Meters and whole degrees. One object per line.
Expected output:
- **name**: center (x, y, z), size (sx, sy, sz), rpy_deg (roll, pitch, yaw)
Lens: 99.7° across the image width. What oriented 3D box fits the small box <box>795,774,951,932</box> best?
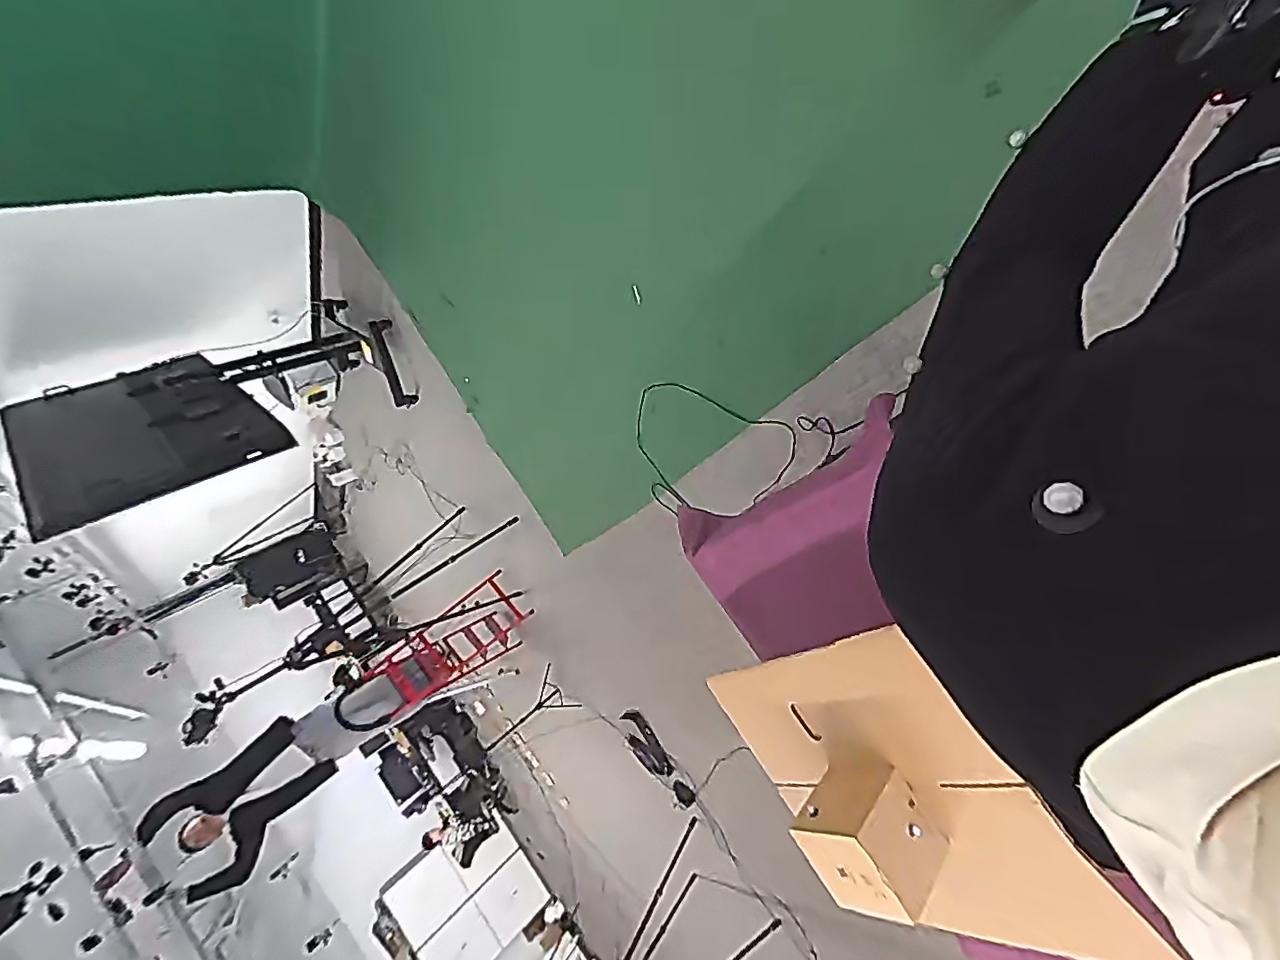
- **small box**: center (0.432, 0.674, 1.003), size (0.168, 0.176, 0.179), rpy_deg (55, 141, 7)
